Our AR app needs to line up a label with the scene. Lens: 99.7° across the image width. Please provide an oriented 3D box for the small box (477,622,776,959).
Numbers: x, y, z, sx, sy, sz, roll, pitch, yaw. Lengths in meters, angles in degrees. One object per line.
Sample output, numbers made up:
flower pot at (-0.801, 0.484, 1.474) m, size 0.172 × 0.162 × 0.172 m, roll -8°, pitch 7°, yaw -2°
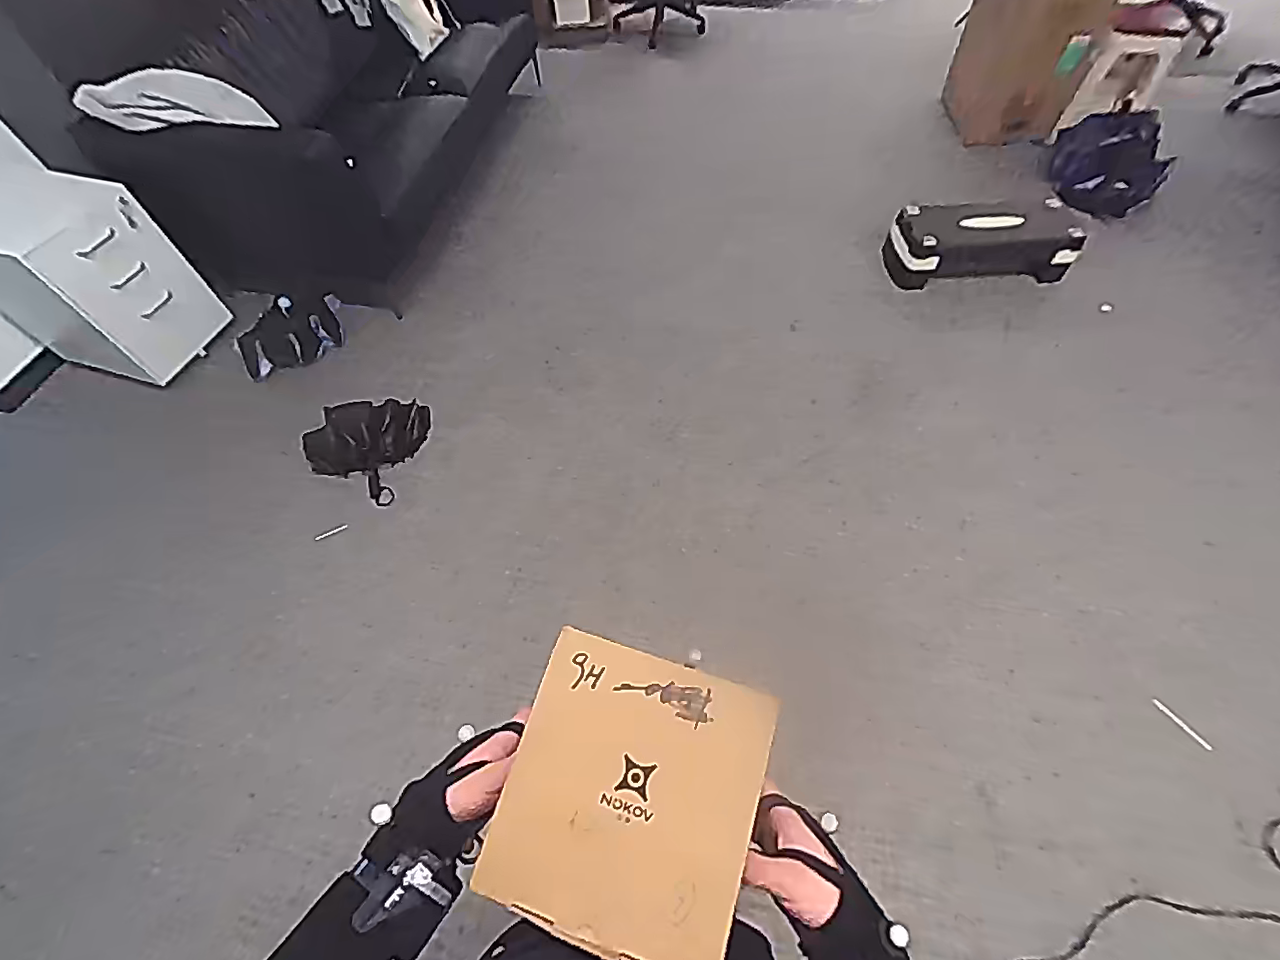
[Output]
small box at (-0.003, 0.231, 0.444) m, size 0.168 × 0.176 × 0.179 m, roll 16°, pitch 73°, yaw 7°
